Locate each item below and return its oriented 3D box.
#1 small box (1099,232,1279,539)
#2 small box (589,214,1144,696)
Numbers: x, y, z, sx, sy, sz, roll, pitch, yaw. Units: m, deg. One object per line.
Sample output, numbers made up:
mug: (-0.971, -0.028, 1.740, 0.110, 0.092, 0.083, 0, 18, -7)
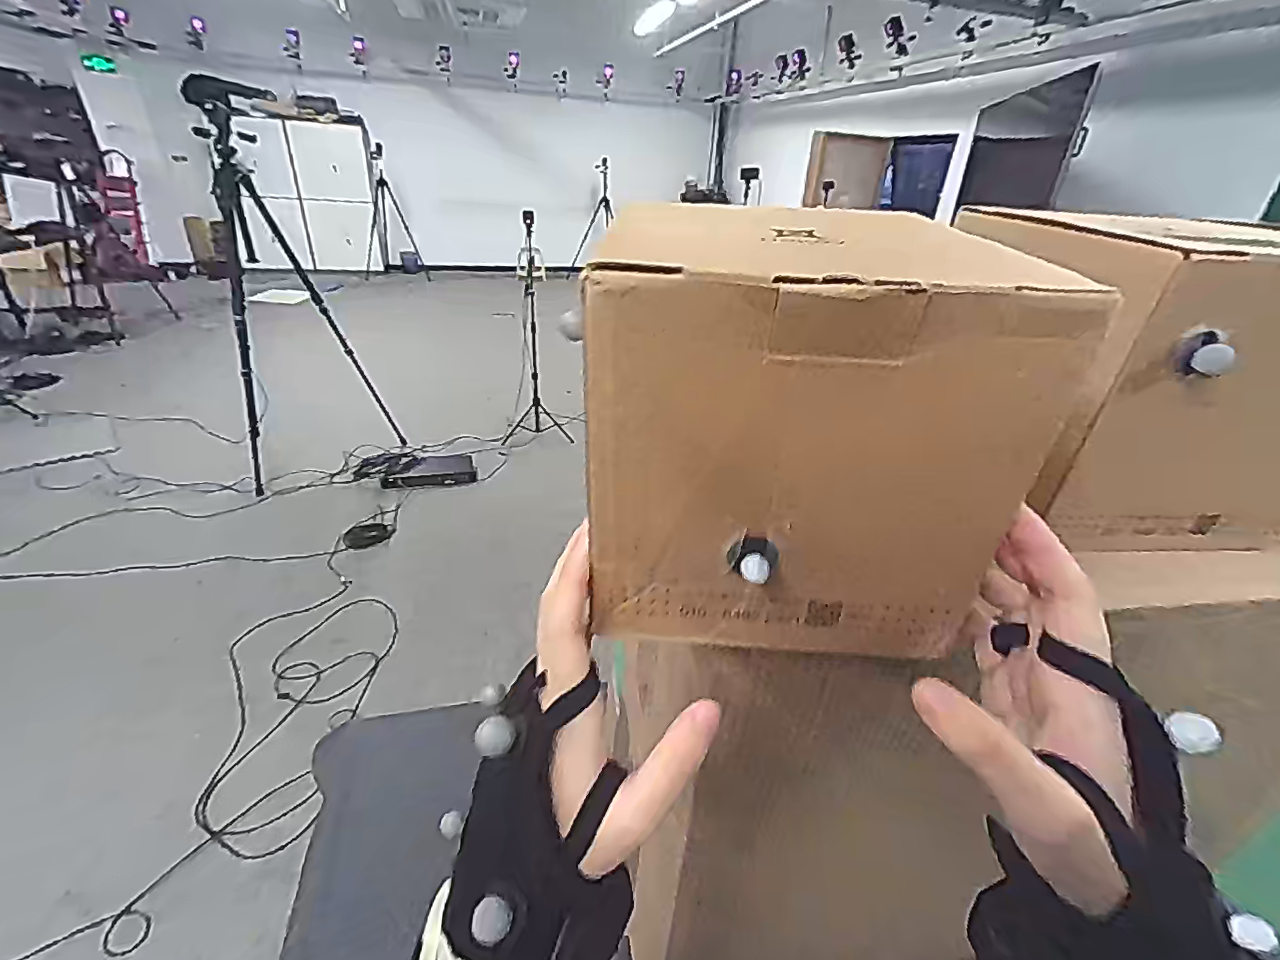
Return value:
small box: (0.484, -0.064, 0.378, 0.168, 0.176, 0.179, 0, 32, -10)
small box: (0.065, -0.023, 0.270, 0.168, 0.176, 0.179, 4, 34, 1)
